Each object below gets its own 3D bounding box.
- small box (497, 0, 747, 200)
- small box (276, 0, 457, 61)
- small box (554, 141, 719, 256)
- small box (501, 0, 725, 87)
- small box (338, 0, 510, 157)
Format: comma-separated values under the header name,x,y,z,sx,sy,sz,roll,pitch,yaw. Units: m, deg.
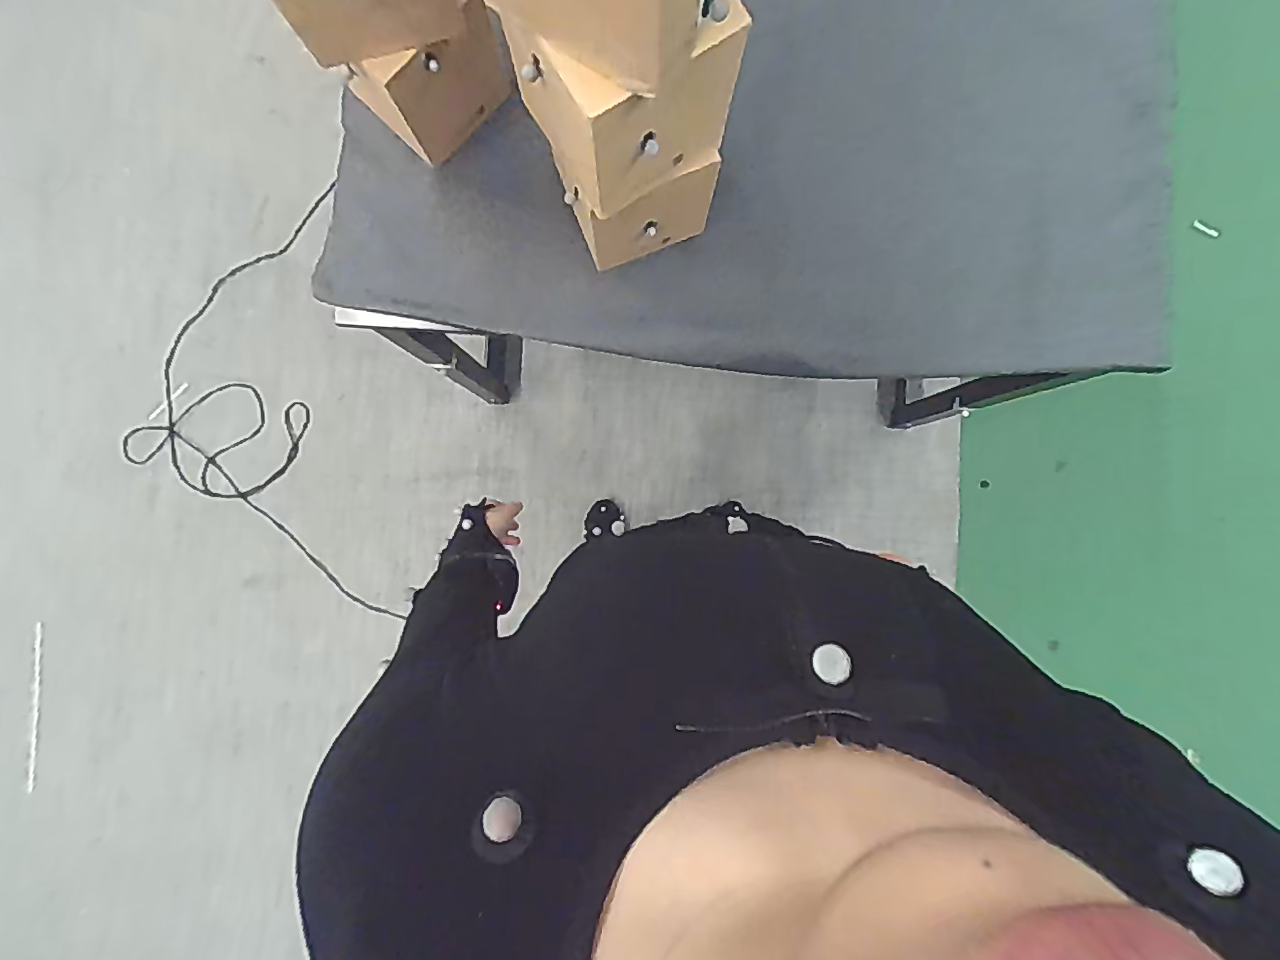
name,x,y,z,sx,sy,sz,roll,pitch,yaw
small box,-0.019,-0.416,0.537,0.168,0.176,0.179,-32,88,-1
small box,-0.300,-0.576,0.541,0.179,0.176,0.168,-15,89,0
small box,-0.013,-0.416,0.699,0.168,0.176,0.179,-22,88,-1
small box,-0.016,-0.431,0.375,0.179,0.176,0.168,32,89,1
small box,-0.300,-0.576,0.706,0.179,0.176,0.168,44,89,1
